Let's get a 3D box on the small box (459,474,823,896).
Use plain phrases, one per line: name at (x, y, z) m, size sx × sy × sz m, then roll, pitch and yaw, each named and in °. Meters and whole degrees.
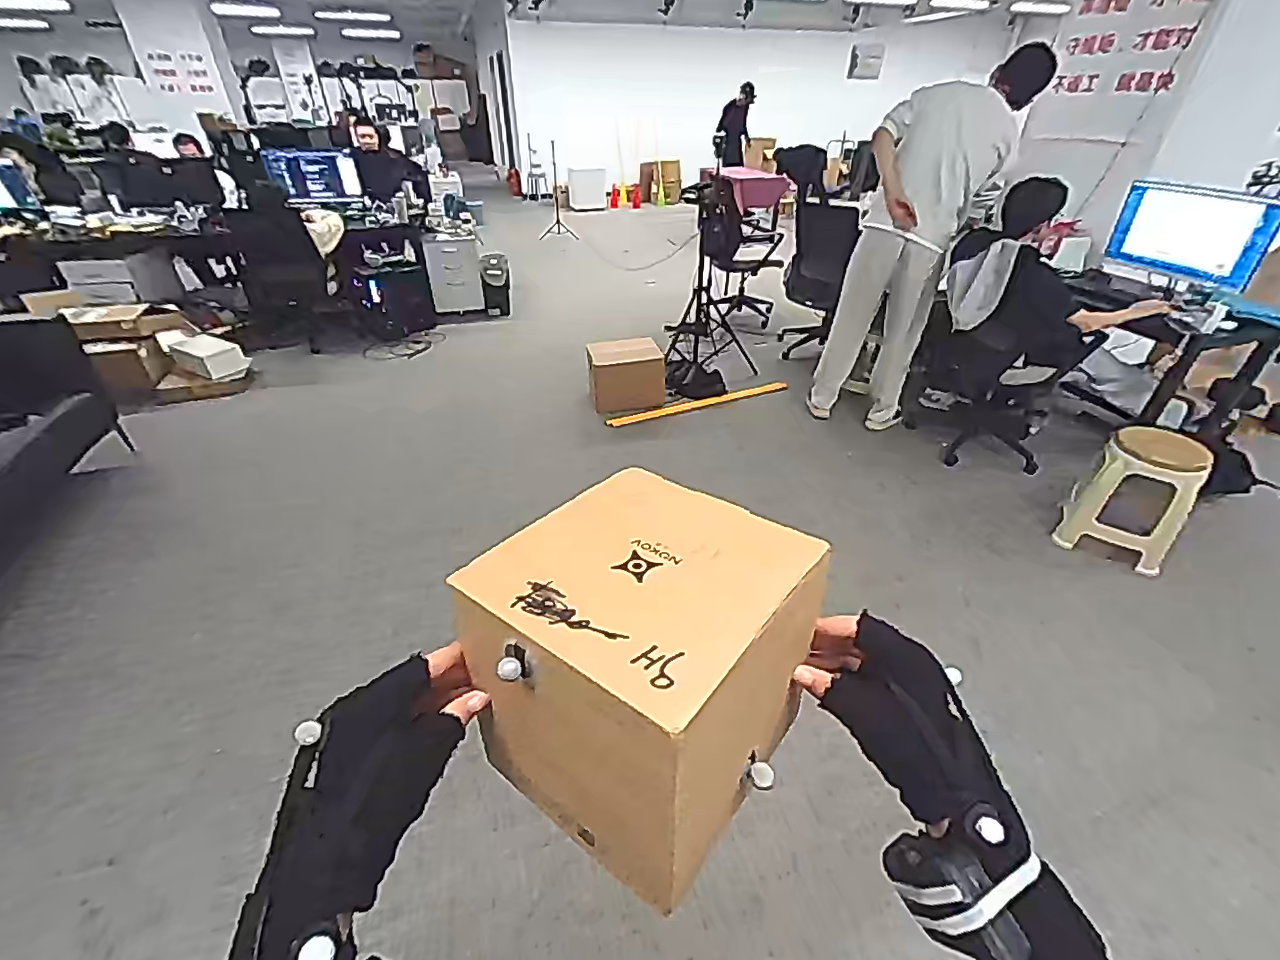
small box at (0.004, 0.122, 0.376) m, size 0.168 × 0.176 × 0.179 m, roll 20°, pitch 34°, yaw 33°
